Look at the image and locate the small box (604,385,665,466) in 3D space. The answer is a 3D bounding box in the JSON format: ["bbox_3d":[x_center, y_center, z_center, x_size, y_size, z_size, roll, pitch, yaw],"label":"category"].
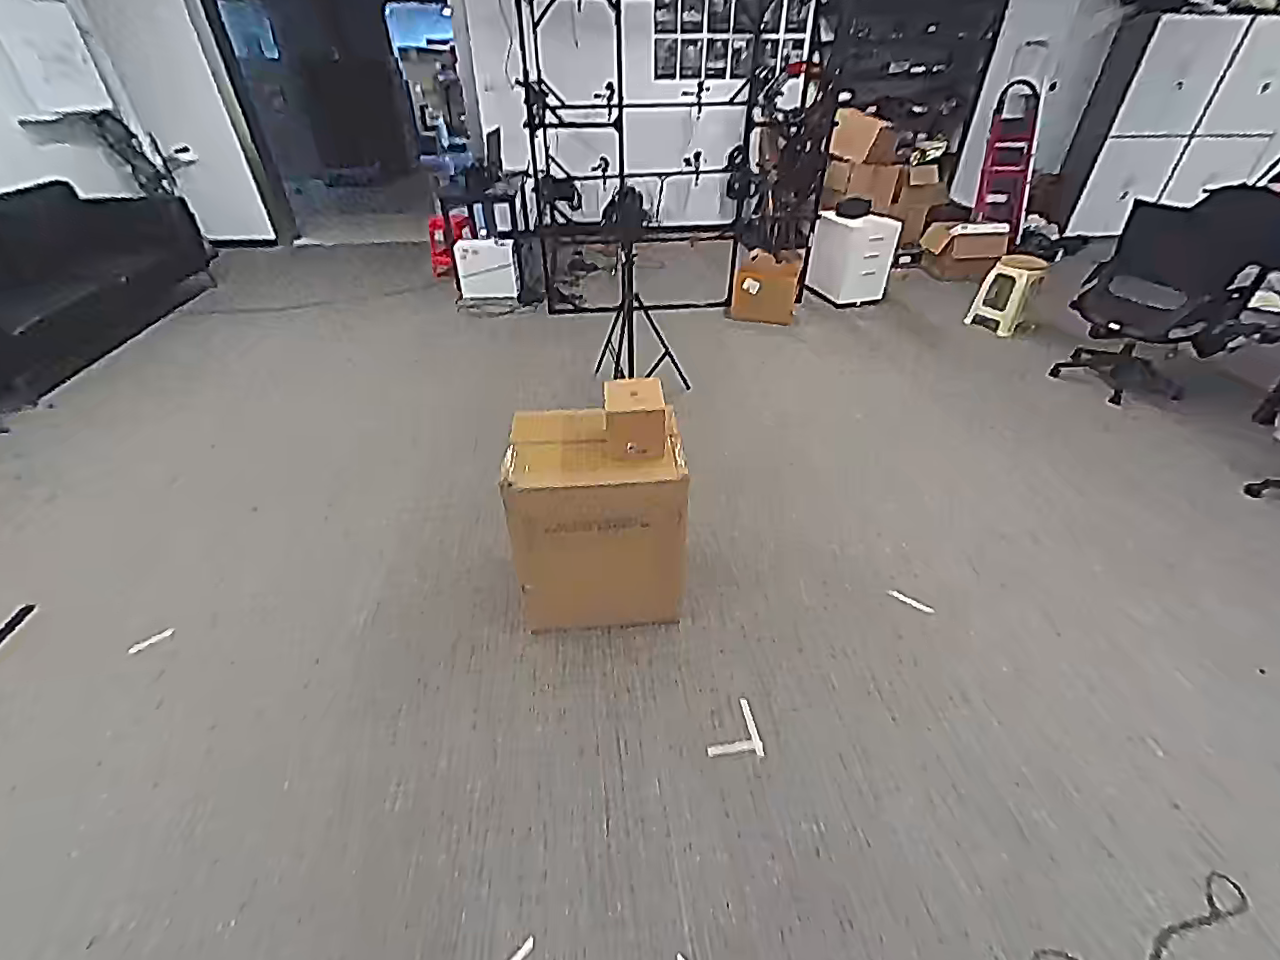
[{"bbox_3d":[-0.018,-0.158,1.577,0.168,0.176,0.179,-5,39,-3],"label":"small box"}]
